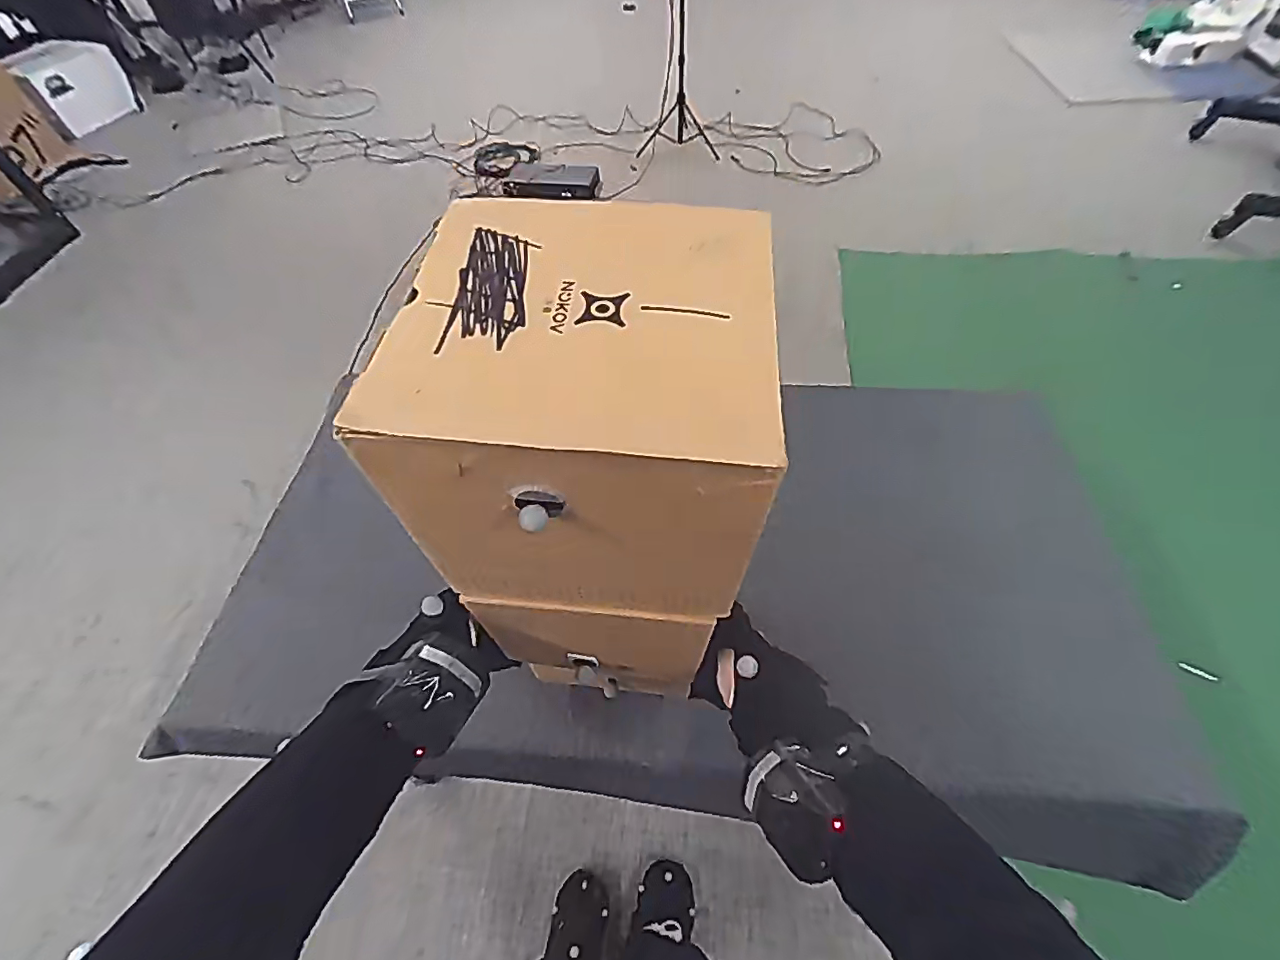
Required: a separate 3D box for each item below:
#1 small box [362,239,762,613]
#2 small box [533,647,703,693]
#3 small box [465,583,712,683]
[{"bbox_3d":[-0.026,-0.023,0.337,0.179,0.176,0.168,5,57,3],"label":"small box"},{"bbox_3d":[-0.024,0.132,0.606,0.179,0.176,0.168,5,56,2],"label":"small box"},{"bbox_3d":[-0.027,0.057,0.460,0.168,0.176,0.179,5,57,3],"label":"small box"}]
